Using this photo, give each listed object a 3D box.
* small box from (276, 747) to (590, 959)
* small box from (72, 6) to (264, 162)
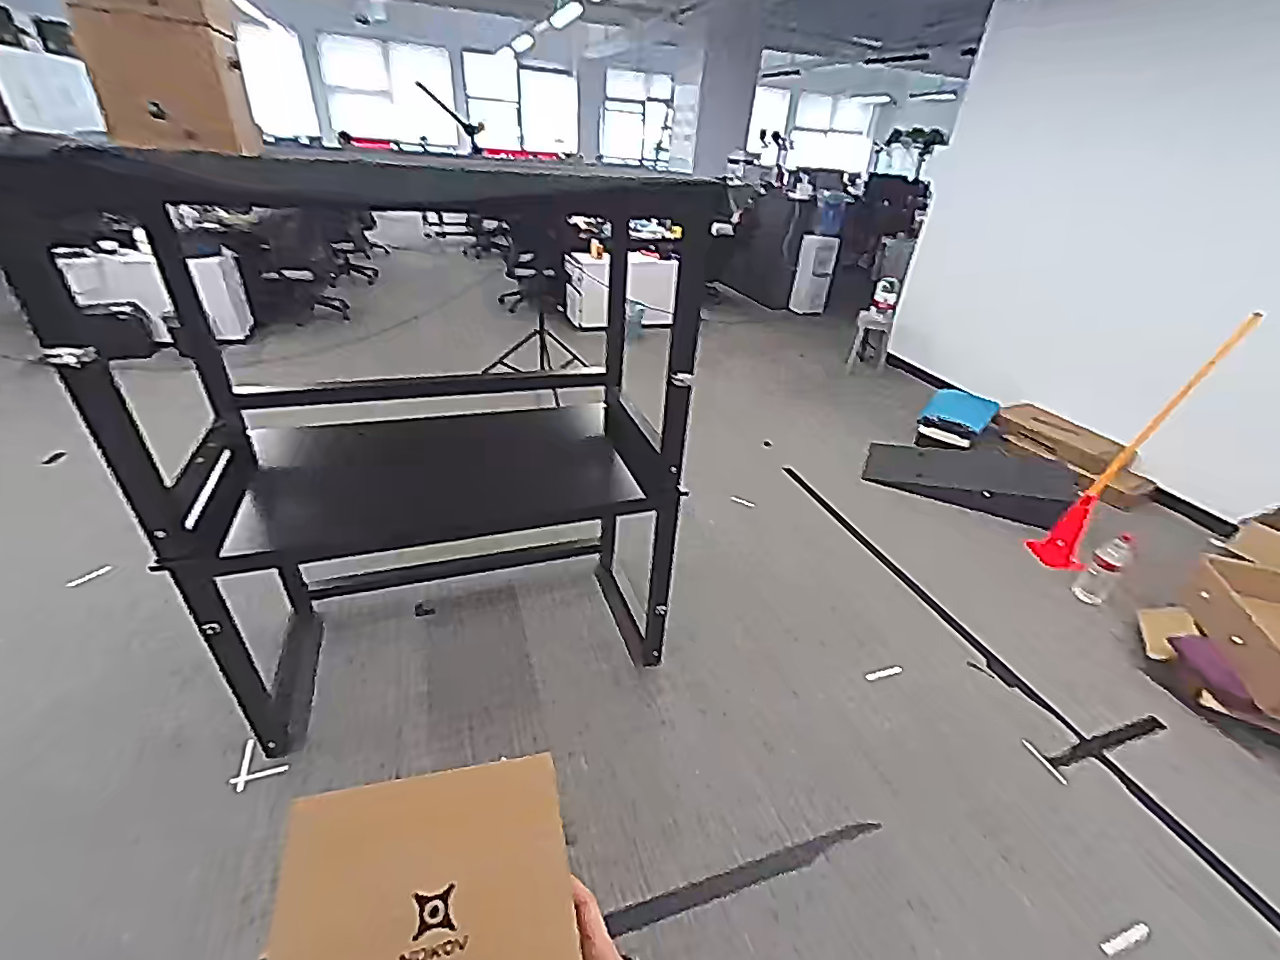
[{"bbox_3d":[-0.133,0.312,0.359,0.168,0.176,0.179,-1,42,-20],"label":"small box"},{"bbox_3d":[-0.727,-0.615,0.861,0.168,0.176,0.179,-7,33,-19],"label":"small box"}]
